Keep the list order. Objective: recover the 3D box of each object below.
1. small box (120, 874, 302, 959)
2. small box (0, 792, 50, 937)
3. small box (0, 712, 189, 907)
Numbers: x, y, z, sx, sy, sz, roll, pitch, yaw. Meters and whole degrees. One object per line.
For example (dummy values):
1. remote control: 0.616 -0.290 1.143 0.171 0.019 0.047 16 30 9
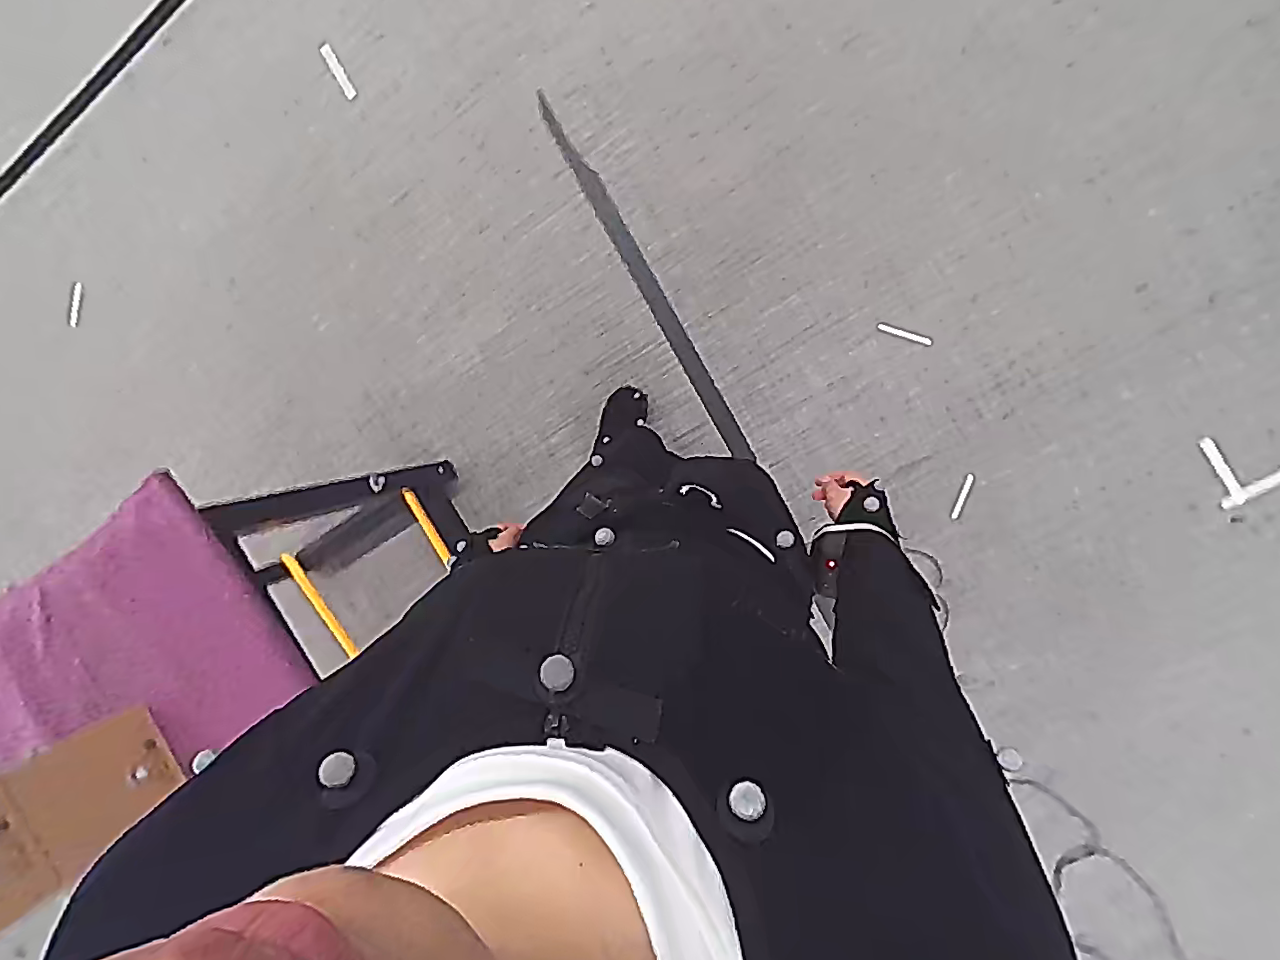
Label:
1. small box: -0.614 0.703 0.745 0.168 0.176 0.179 -31 90 12
2. small box: -0.819 0.474 0.582 0.179 0.176 0.168 -27 93 12
3. small box: -0.790 0.457 0.744 0.179 0.176 0.168 -27 92 11
